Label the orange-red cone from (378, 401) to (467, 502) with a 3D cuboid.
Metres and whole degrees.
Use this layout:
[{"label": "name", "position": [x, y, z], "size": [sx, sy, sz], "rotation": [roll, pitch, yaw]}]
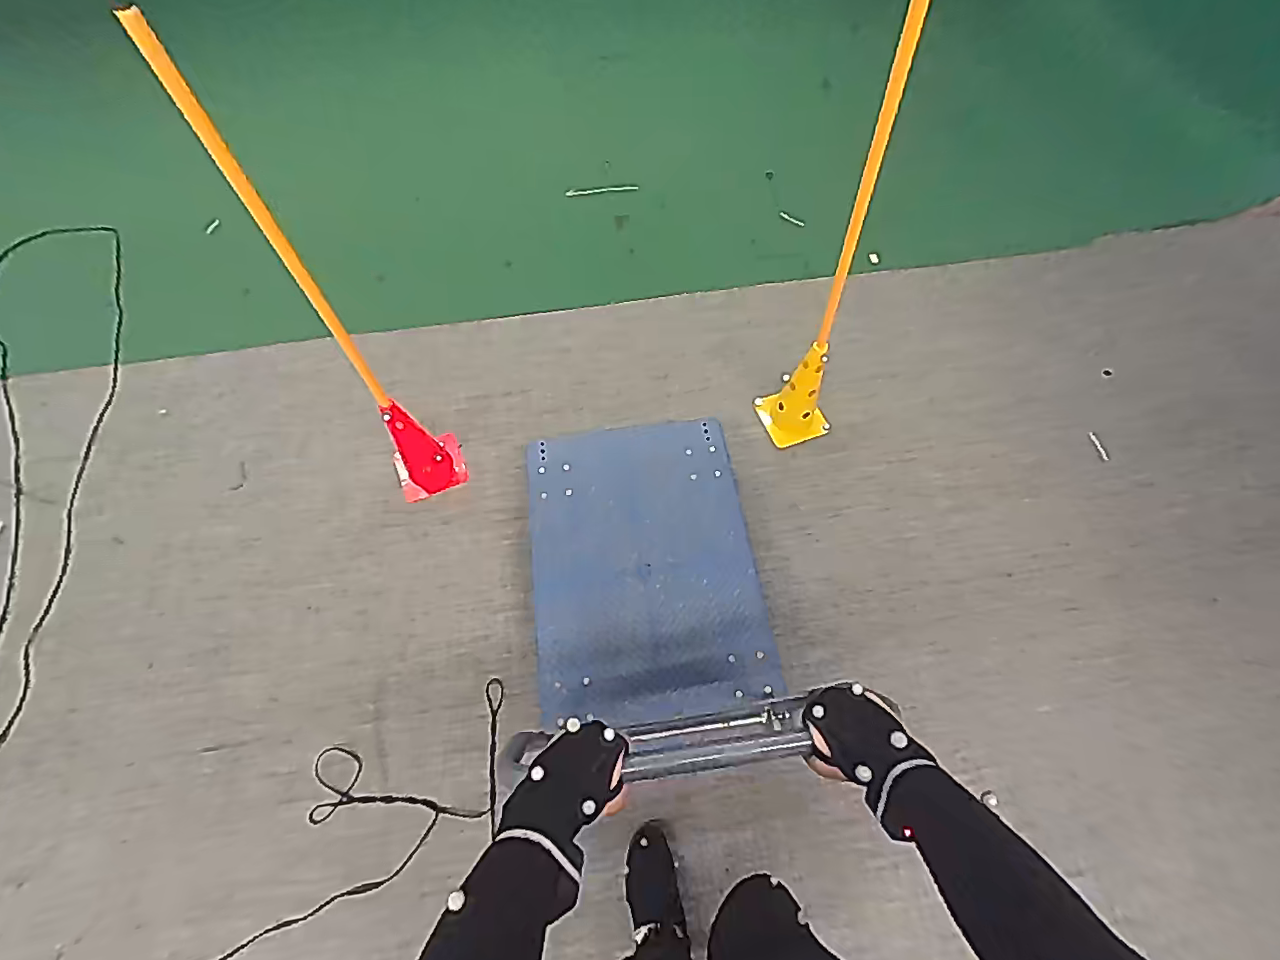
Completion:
[{"label": "orange-red cone", "position": [-0.665, -0.113, 1.566], "size": [0.199, 0.360, 0.198], "rotation": [-22, 65, -9]}]
